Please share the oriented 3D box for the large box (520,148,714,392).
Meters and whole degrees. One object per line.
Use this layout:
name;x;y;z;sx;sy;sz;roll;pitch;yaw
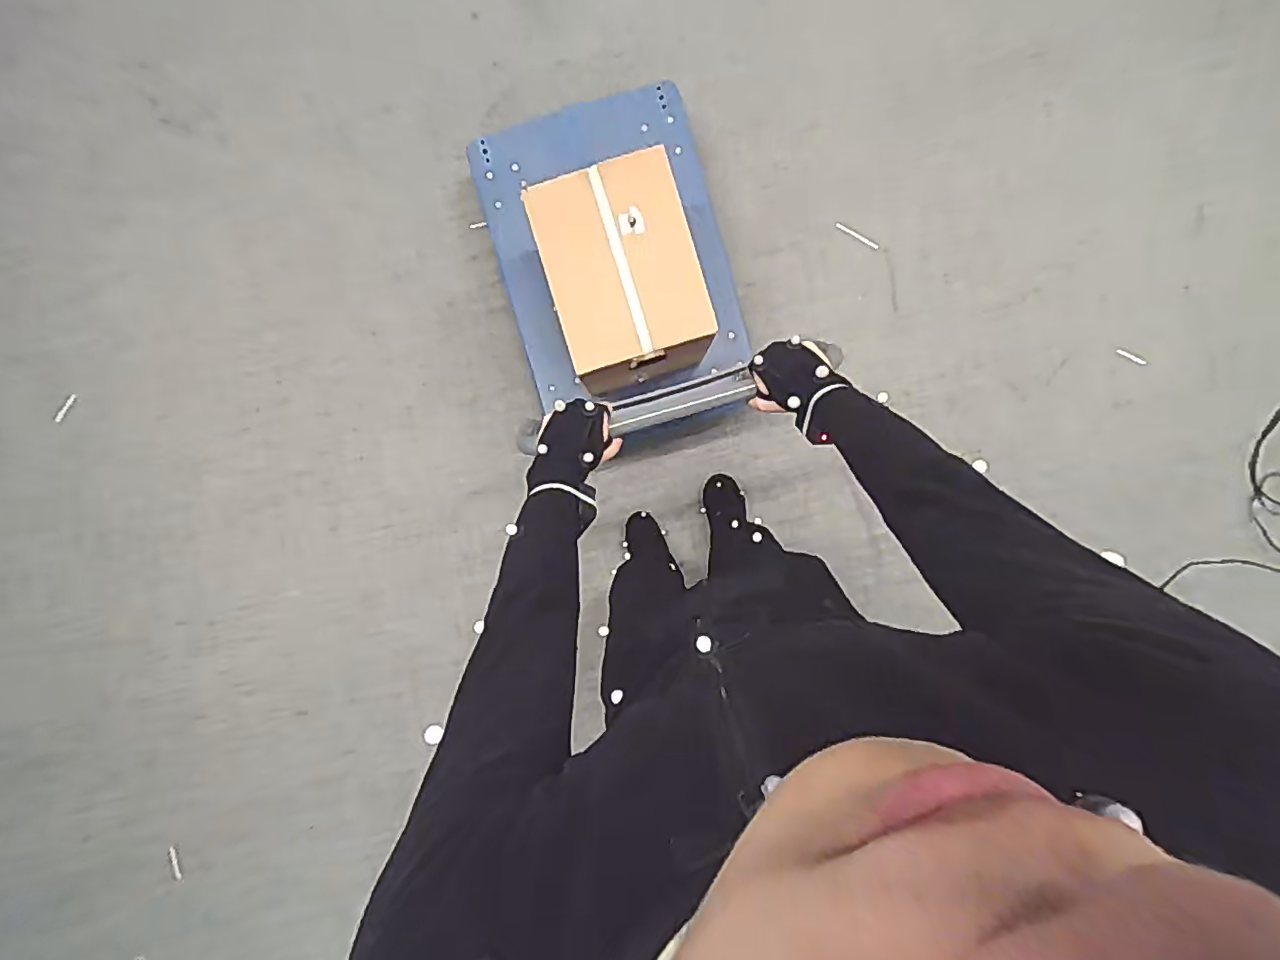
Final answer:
large box;-0.043;-0.460;1.277;0.320;0.320;0.408;-17;91;1
